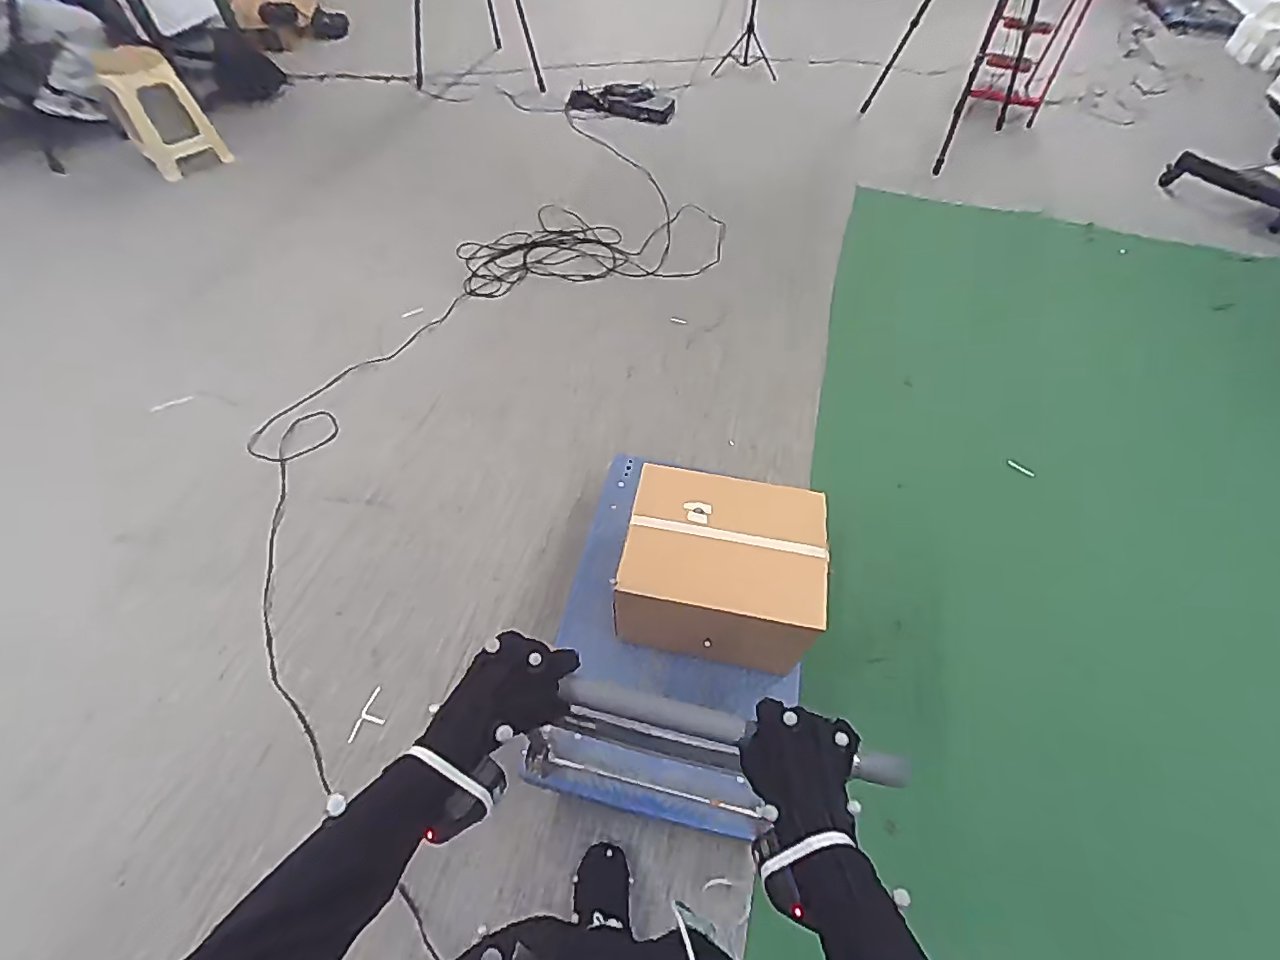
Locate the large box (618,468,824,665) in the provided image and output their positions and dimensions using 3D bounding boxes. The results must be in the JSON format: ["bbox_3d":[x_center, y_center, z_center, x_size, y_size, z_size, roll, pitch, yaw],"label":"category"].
[{"bbox_3d":[0.180,0.206,1.244,0.408,0.320,0.320,8,55,6],"label":"large box"}]
